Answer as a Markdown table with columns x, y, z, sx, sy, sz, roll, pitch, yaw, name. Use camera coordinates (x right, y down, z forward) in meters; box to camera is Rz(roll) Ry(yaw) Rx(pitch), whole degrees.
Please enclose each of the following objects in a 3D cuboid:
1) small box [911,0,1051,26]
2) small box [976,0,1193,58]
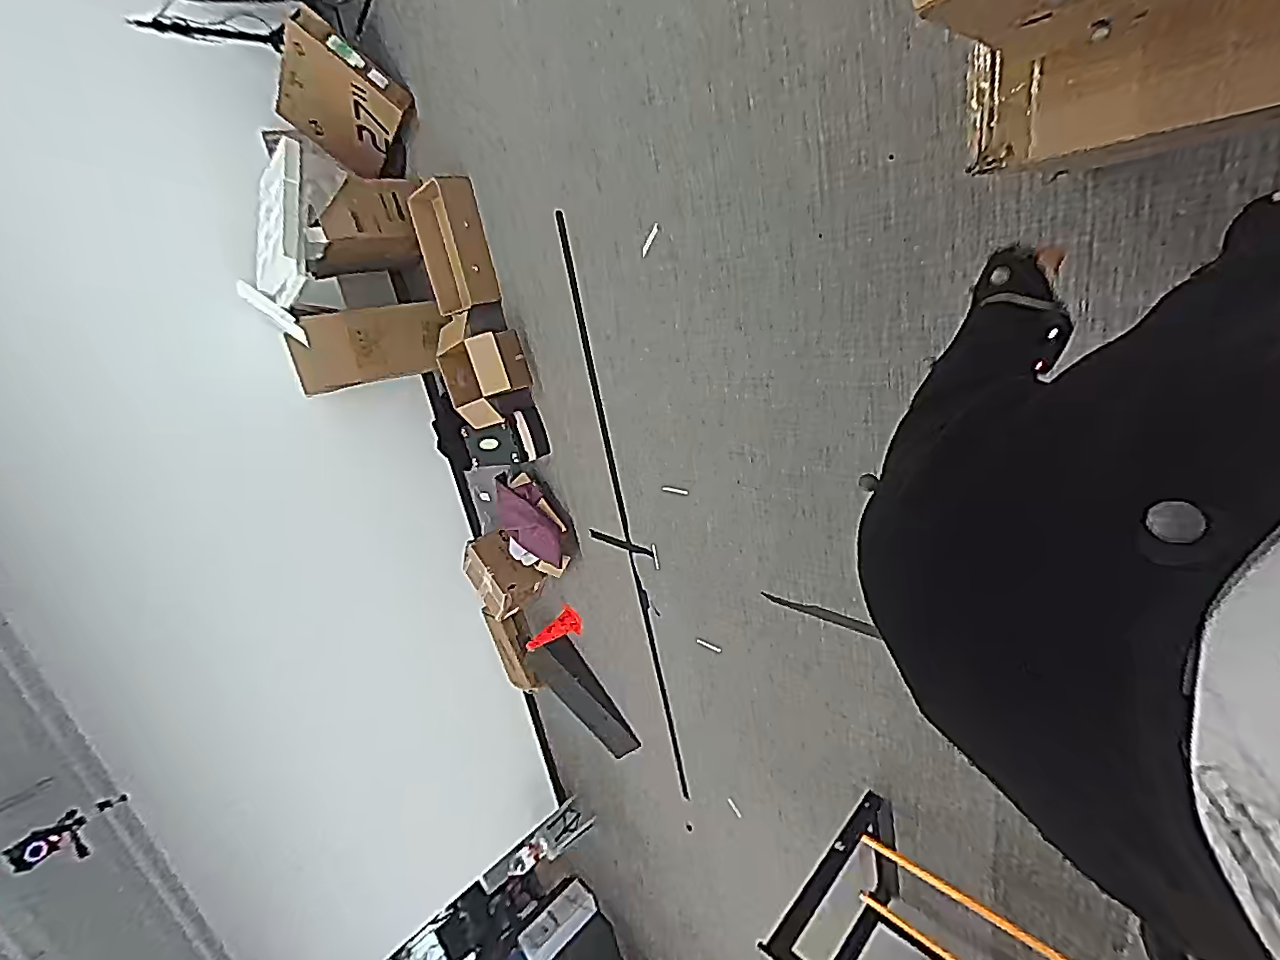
| x | y | z | sx | sy | sz | roll | pitch | yaw | name |
| --- | --- | --- | --- | --- | --- | --- | --- | --- | --- |
| 0.317 | -0.483 | 0.407 | 0.168 | 0.176 | 0.179 | 7 | 116 | 48 | small box |
| 0.436 | -0.538 | 0.507 | 0.168 | 0.176 | 0.179 | 9 | 118 | 47 | small box |
